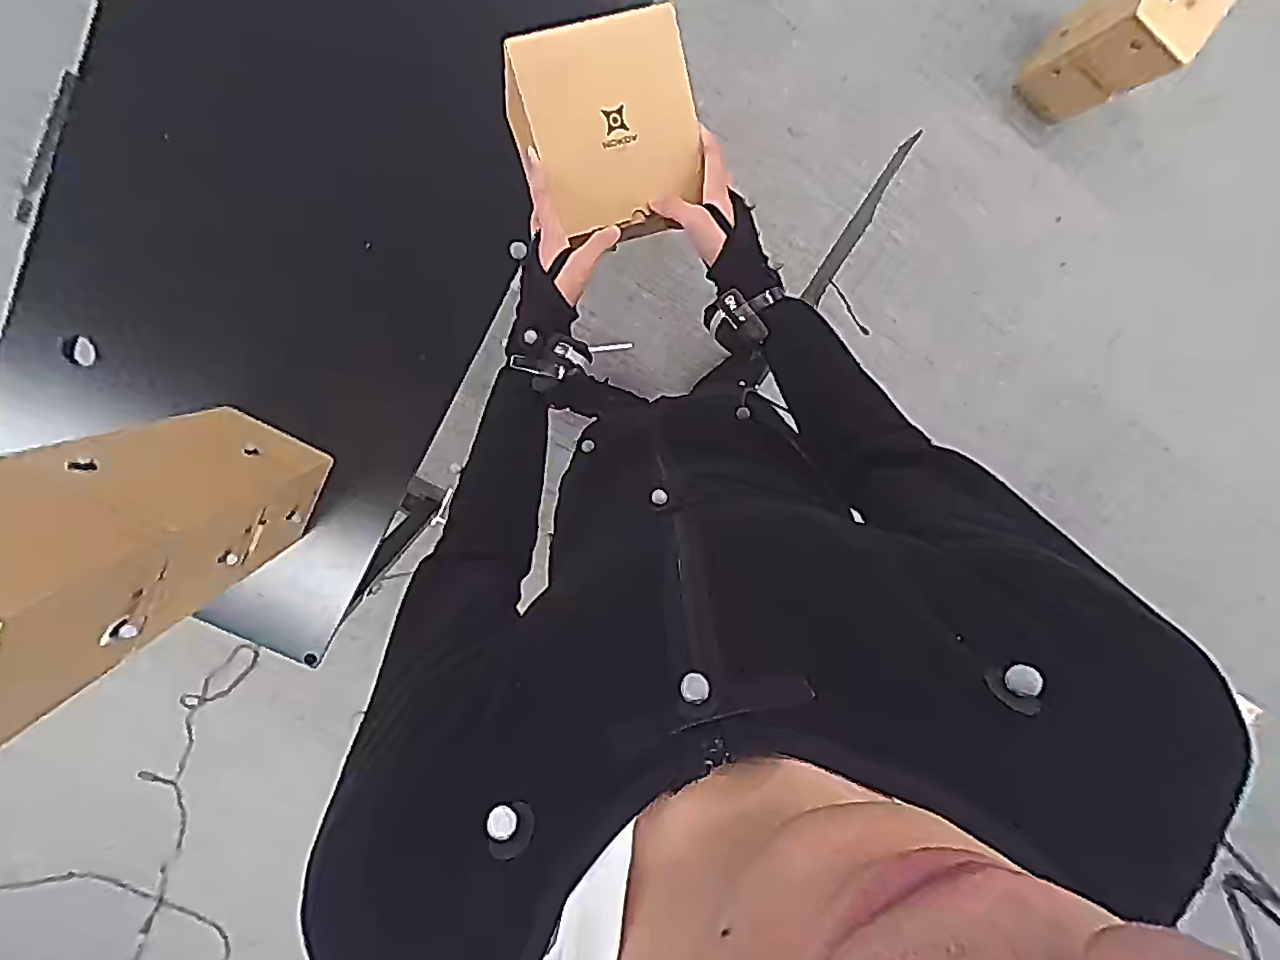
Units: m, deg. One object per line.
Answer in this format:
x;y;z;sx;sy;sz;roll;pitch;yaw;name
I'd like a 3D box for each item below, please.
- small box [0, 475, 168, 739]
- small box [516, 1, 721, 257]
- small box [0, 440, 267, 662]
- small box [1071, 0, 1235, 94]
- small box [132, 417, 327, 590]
-0.580;0.111;0.468;0.179;0.176;0.168;27;104;-11;small box
-0.032;-0.361;0.589;0.168;0.176;0.179;-19;110;-7;small box
-0.589;0.067;0.625;0.179;0.176;0.168;28;103;-10;small box
1.101;-0.989;1.170;0.179;0.176;0.168;29;102;-12;small box
-0.597;0.023;0.783;0.179;0.176;0.168;27;103;-11;small box
